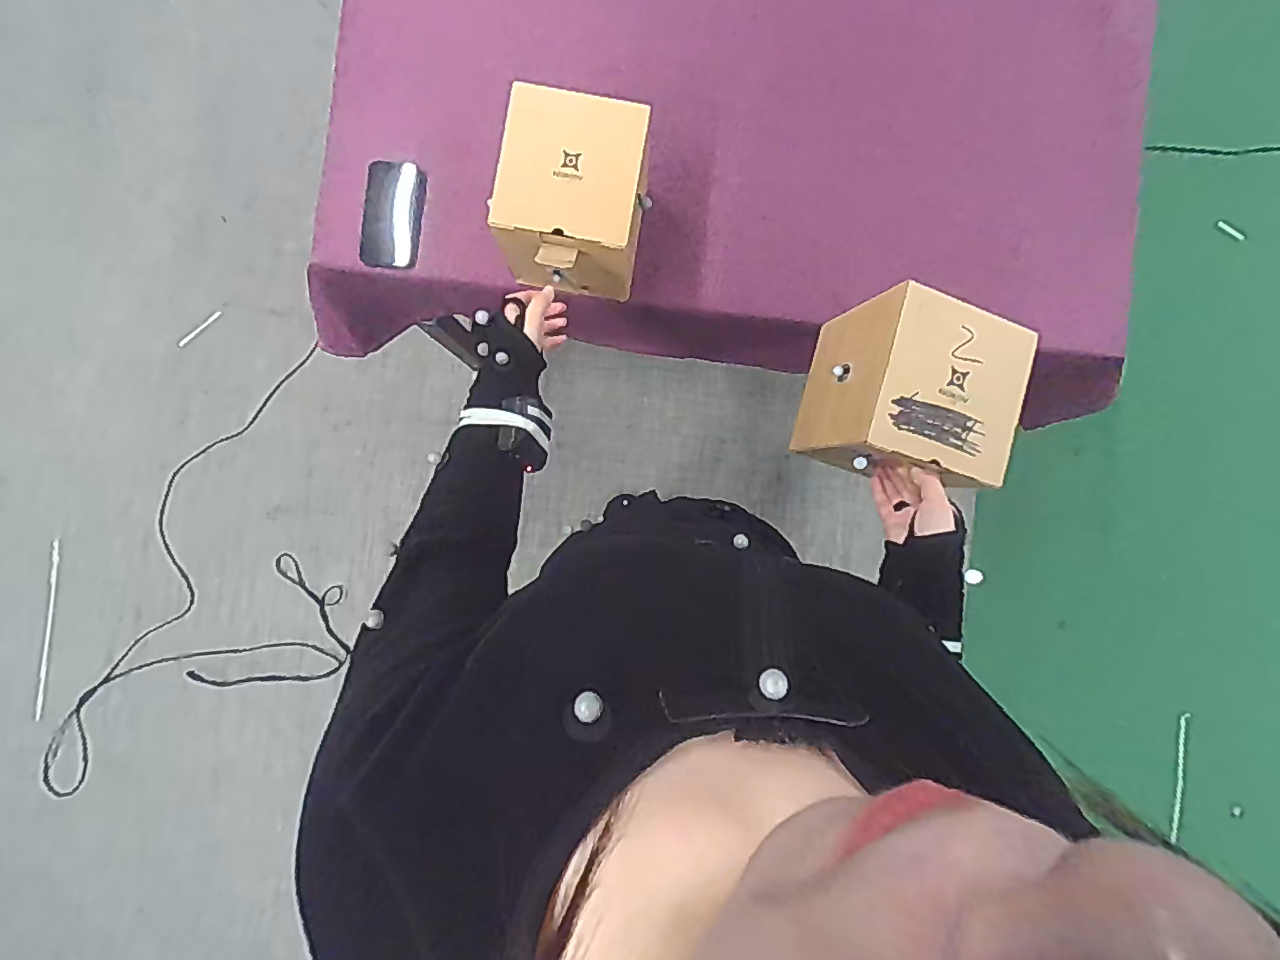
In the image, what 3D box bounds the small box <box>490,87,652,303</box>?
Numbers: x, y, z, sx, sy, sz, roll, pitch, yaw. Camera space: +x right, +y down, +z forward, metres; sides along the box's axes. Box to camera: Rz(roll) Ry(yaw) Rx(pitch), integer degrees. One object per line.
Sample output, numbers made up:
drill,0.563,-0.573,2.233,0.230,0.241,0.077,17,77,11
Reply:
small box,-0.084,-0.358,0.711,0.168,0.176,0.179,10,88,-2
